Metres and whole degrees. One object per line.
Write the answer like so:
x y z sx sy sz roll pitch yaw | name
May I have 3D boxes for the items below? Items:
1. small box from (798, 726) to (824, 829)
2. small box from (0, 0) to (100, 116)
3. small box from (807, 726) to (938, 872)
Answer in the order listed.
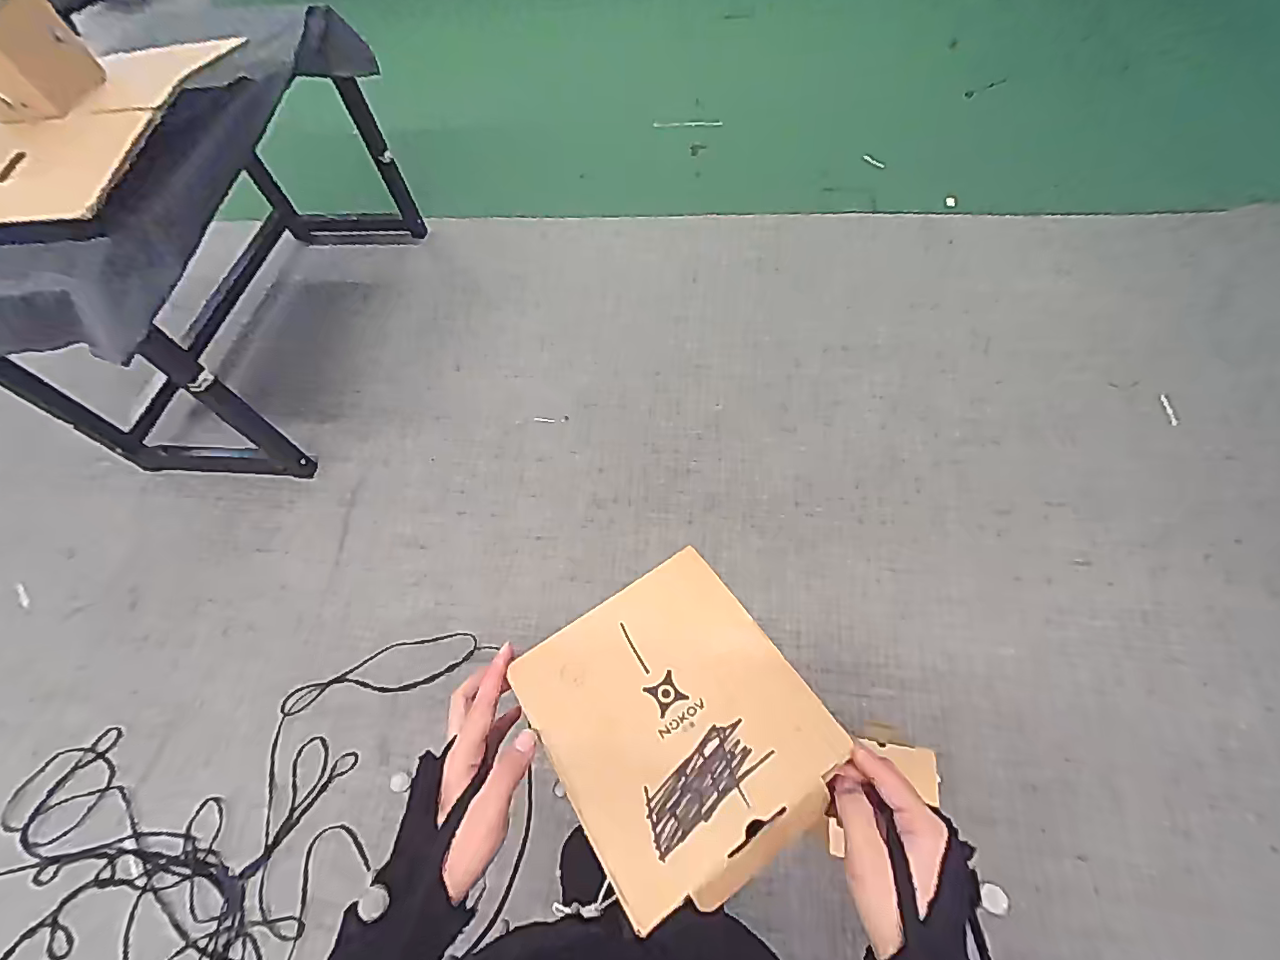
0.411 0.602 1.063 0.168 0.176 0.179 6 61 9 | small box
-1.260 -0.866 1.083 0.168 0.176 0.179 -1 60 8 | small box
0.383 0.532 0.917 0.168 0.176 0.179 6 61 9 | small box
